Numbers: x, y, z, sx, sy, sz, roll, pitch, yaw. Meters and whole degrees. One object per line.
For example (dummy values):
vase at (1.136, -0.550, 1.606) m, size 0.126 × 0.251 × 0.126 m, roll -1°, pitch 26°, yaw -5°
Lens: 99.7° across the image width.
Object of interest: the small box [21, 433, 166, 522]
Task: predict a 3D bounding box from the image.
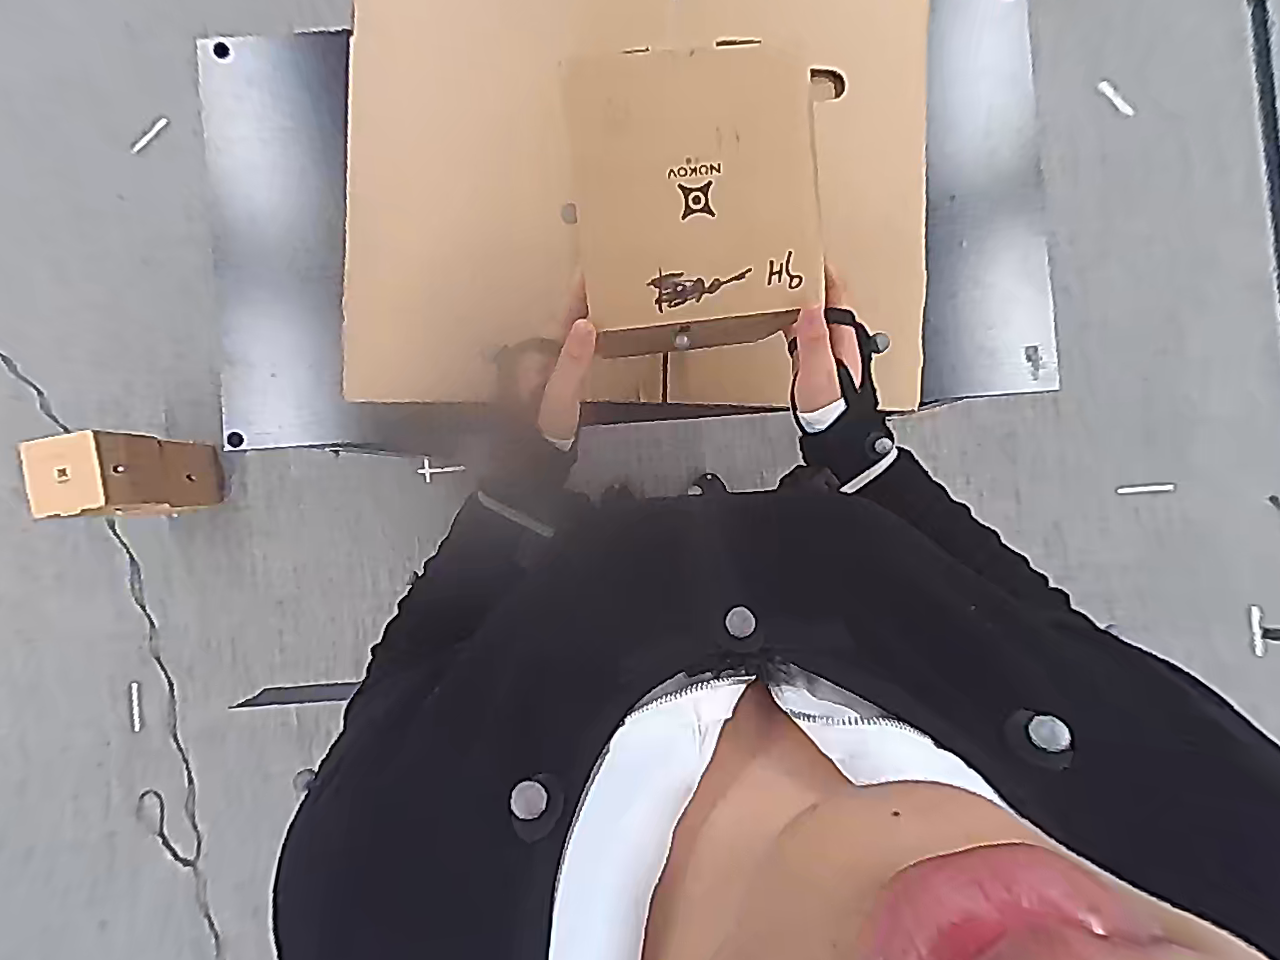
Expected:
small box at (-1.270, -0.005, 1.271) m, size 0.168 × 0.176 × 0.179 m, roll -11°, pitch 88°, yaw -1°

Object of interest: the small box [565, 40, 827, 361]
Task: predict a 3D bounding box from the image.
small box at (0.034, -0.202, 0.439) m, size 0.168 × 0.176 × 0.179 m, roll -7°, pitch 96°, yaw -2°

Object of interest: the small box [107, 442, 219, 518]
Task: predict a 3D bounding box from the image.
small box at (-1.267, 0.003, 1.434) m, size 0.168 × 0.176 × 0.179 m, roll -8°, pitch 90°, yaw 0°
